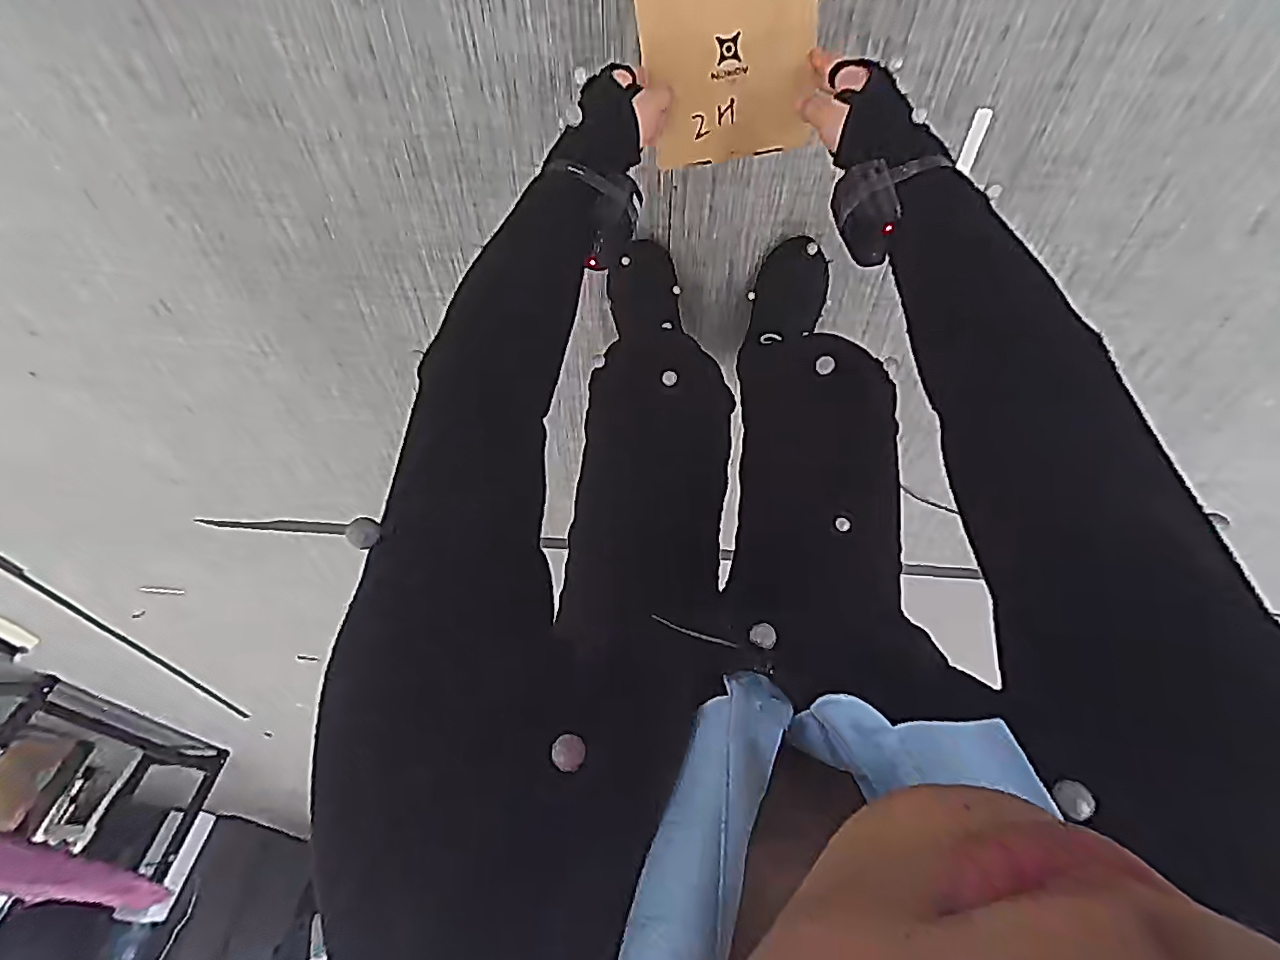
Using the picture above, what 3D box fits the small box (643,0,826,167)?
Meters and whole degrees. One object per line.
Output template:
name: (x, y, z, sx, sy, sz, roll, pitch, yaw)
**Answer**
small box: (0.094, -0.461, 0.566, 0.168, 0.176, 0.179, -3, 138, 10)
